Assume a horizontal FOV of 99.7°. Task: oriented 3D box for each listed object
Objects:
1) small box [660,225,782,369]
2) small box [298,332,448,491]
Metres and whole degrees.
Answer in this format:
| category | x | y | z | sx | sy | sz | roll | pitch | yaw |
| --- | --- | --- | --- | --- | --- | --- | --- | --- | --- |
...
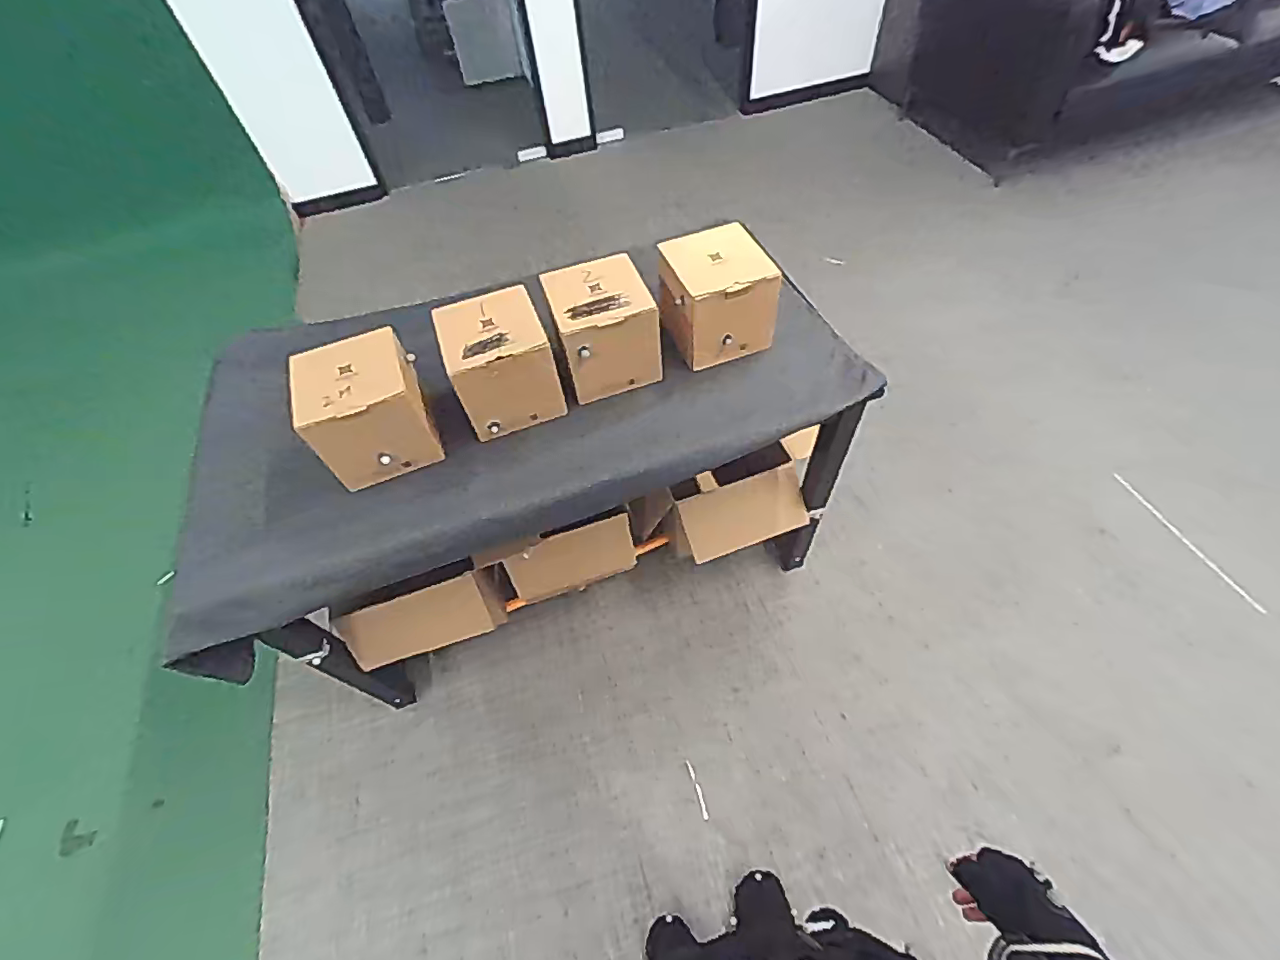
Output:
| category | x | y | z | sx | sy | sz | roll | pitch | yaw |
| --- | --- | --- | --- | --- | --- | --- | --- | --- | --- |
| small box | 0.144 | -0.342 | 1.019 | 0.168 | 0.176 | 0.179 | -19 | 56 | -8 |
| small box | -0.446 | -0.113 | 0.916 | 0.168 | 0.176 | 0.179 | -22 | 56 | -9 |
